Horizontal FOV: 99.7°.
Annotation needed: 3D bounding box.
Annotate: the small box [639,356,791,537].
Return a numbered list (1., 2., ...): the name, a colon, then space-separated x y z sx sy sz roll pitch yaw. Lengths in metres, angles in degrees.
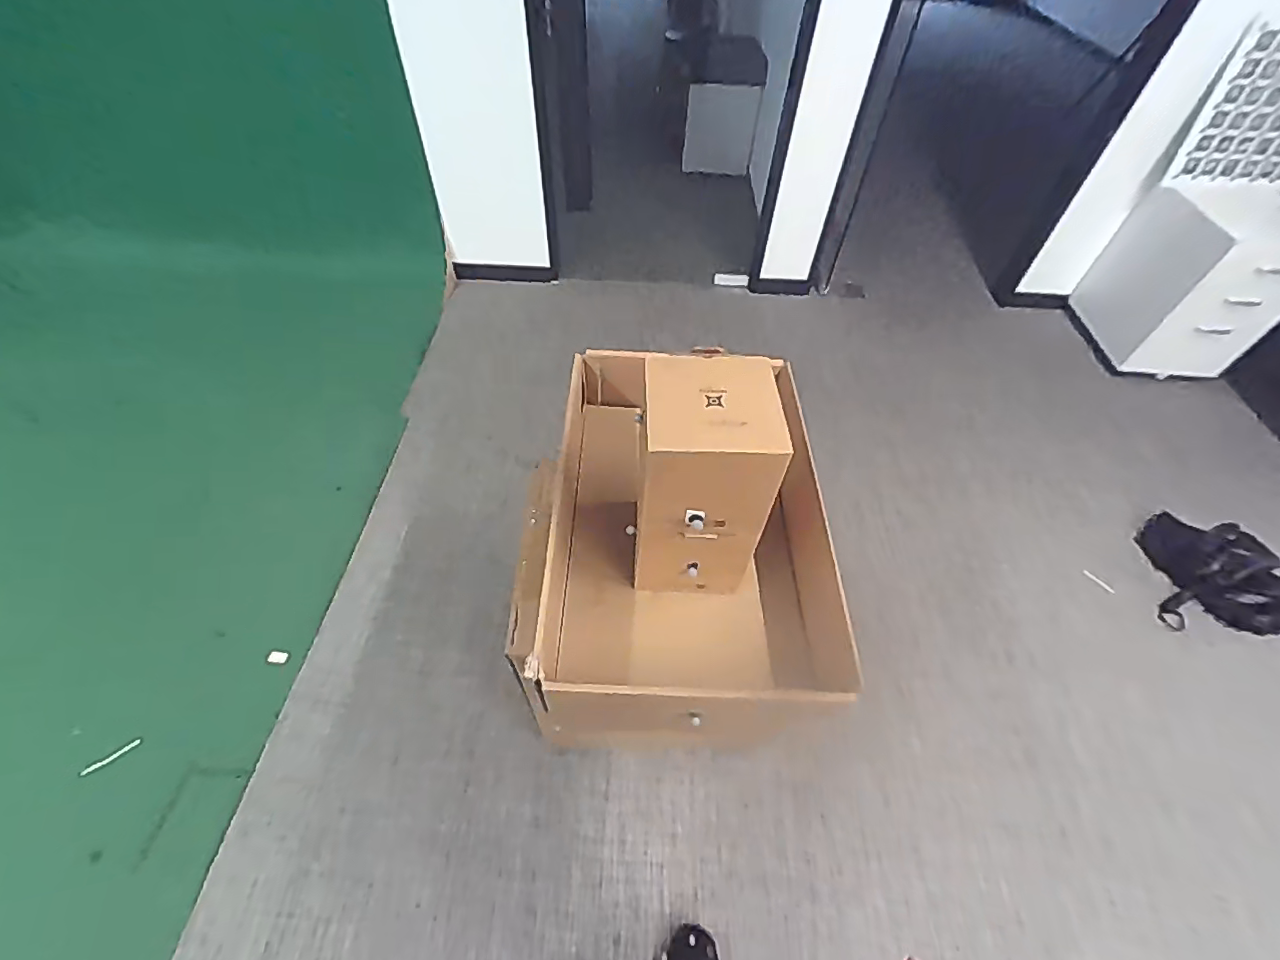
1. small box: 0.085 -0.044 0.722 0.168 0.176 0.179 0 51 -2
